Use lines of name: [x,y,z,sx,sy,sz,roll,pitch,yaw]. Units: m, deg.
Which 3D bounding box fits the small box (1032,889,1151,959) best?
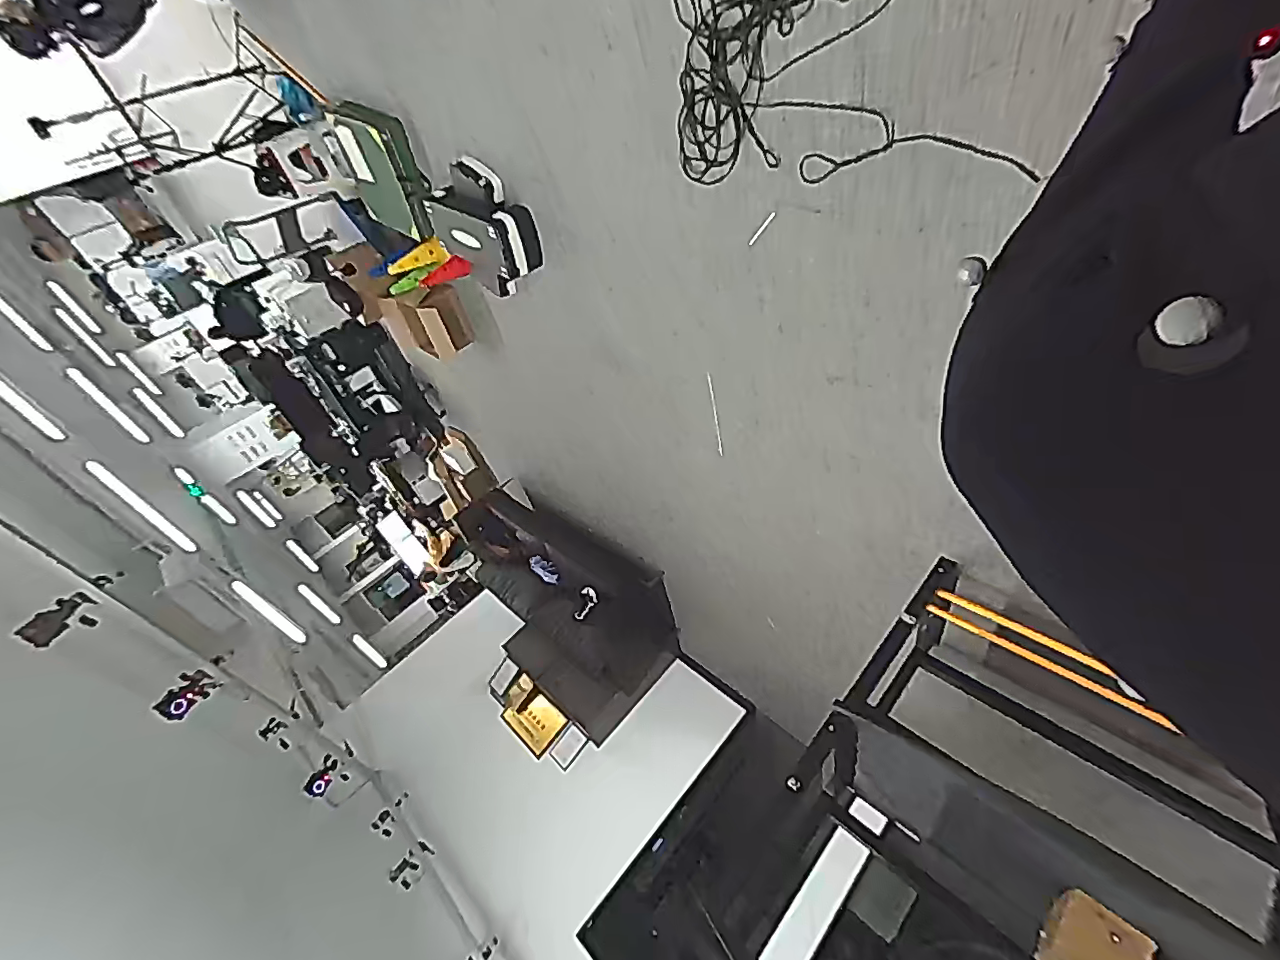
small box: [1.126,1.178,1.351,0.168,0.176,0.179,27,147,38]
